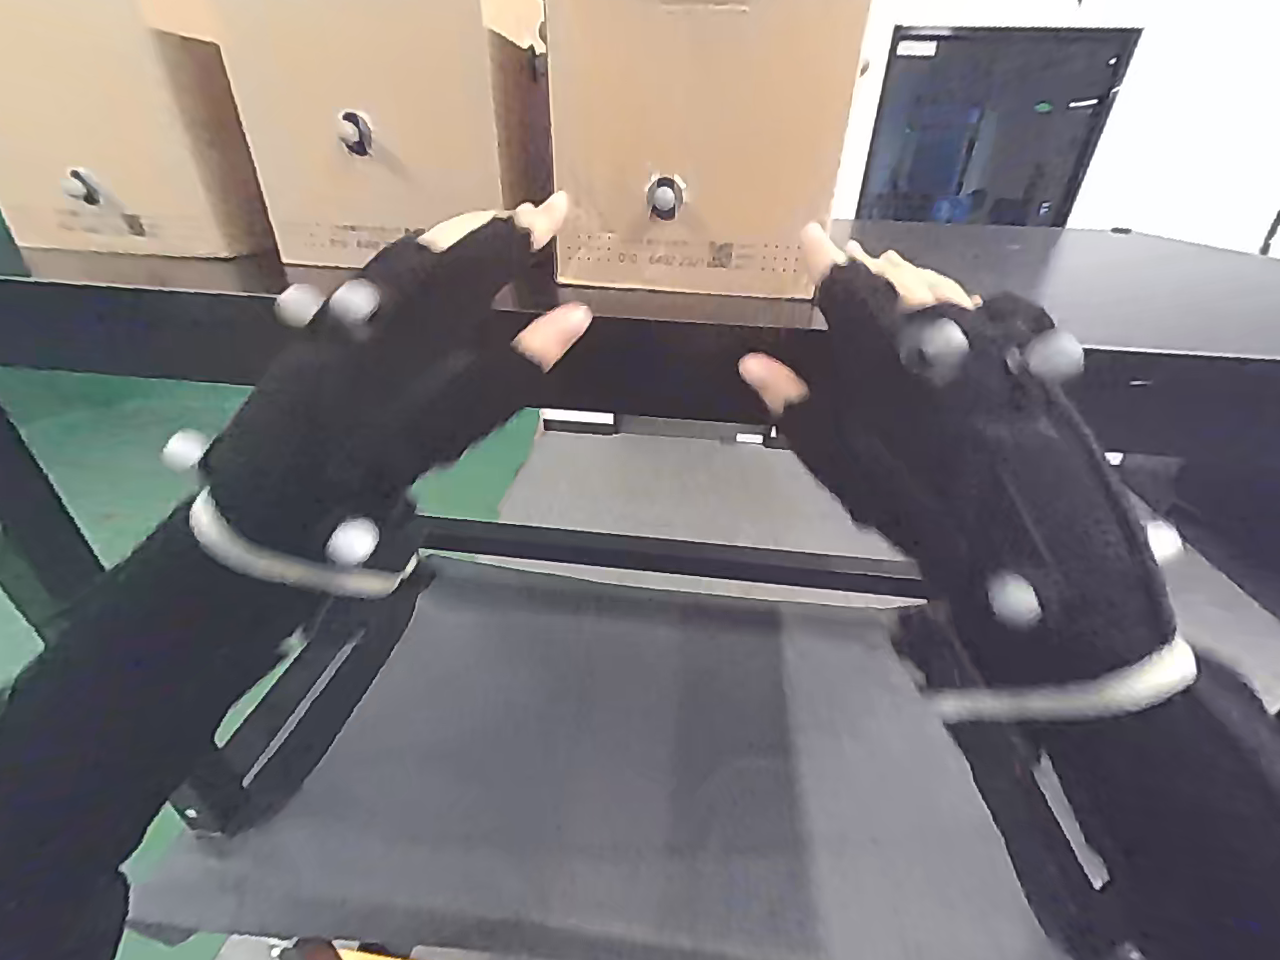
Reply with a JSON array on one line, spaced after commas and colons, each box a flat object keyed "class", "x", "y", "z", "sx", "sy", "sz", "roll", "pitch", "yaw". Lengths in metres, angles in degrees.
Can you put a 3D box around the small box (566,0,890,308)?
[{"class": "small box", "x": 0.047, "y": -0.228, "z": 0.368, "sx": 0.168, "sy": 0.176, "sz": 0.179, "roll": 6, "pitch": 32, "yaw": 6}]
